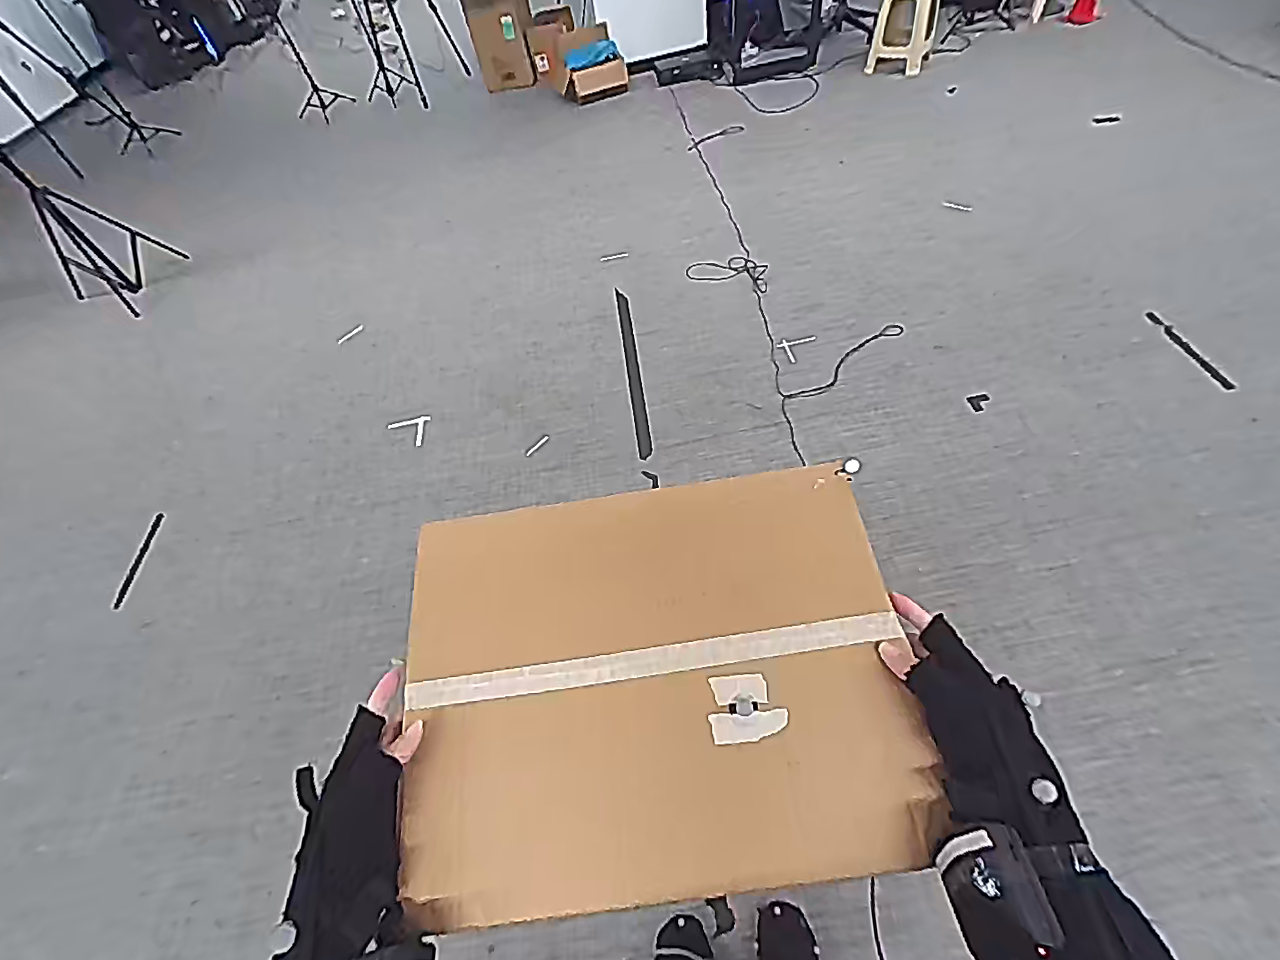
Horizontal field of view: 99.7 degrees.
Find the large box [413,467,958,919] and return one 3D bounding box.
[{"bbox_3d":[0.023,0.221,0.585,0.408,0.320,0.320,-8,61,0],"label":"large box"}]
